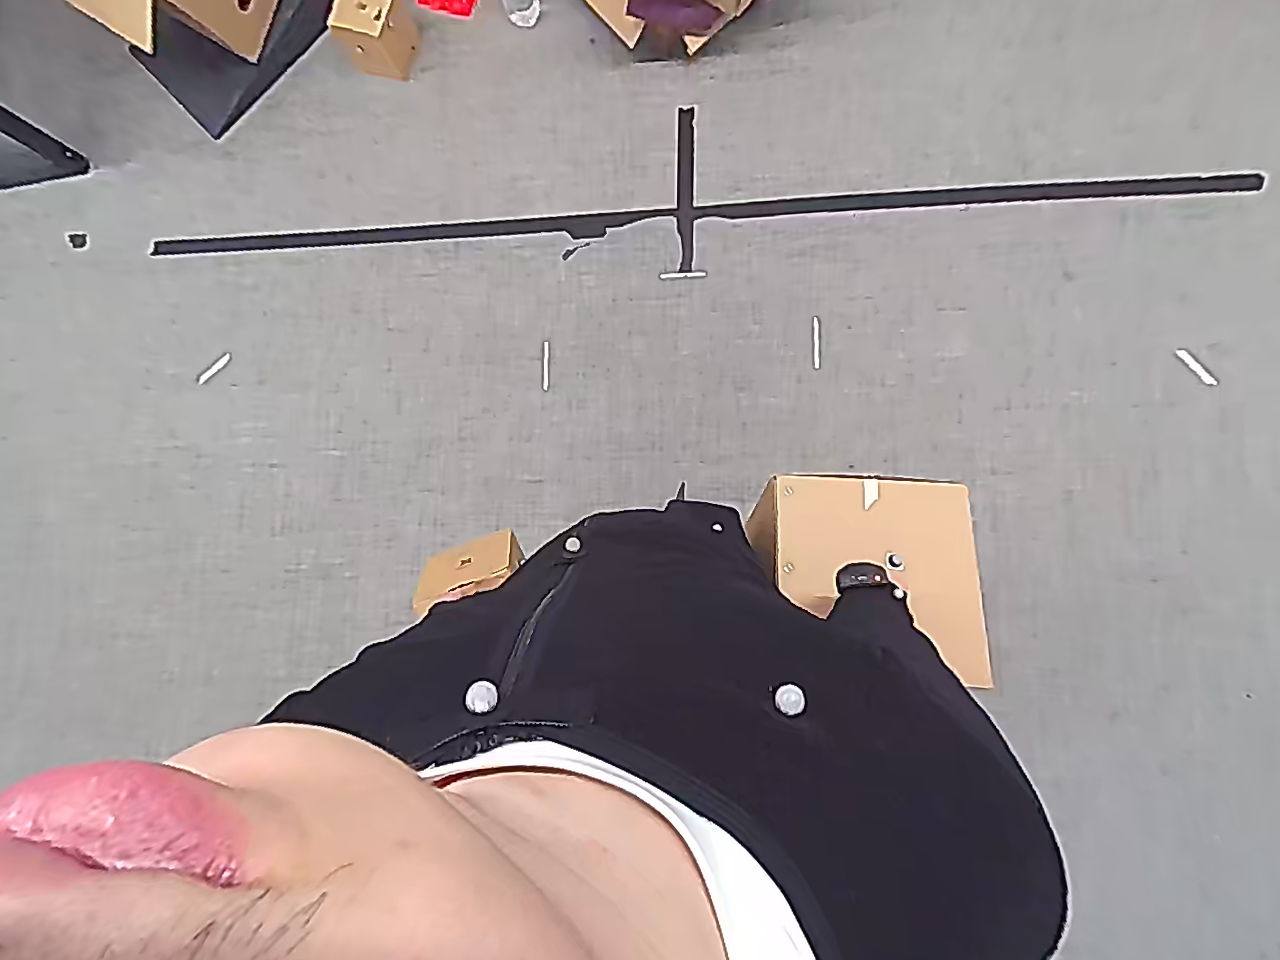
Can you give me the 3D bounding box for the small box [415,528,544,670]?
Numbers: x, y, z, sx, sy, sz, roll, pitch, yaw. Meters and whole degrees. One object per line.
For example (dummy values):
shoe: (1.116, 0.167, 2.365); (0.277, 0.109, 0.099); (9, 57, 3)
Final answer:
small box: (-0.281, 0.219, 0.986); (0.168, 0.179, 0.176); (-20, 111, -4)
